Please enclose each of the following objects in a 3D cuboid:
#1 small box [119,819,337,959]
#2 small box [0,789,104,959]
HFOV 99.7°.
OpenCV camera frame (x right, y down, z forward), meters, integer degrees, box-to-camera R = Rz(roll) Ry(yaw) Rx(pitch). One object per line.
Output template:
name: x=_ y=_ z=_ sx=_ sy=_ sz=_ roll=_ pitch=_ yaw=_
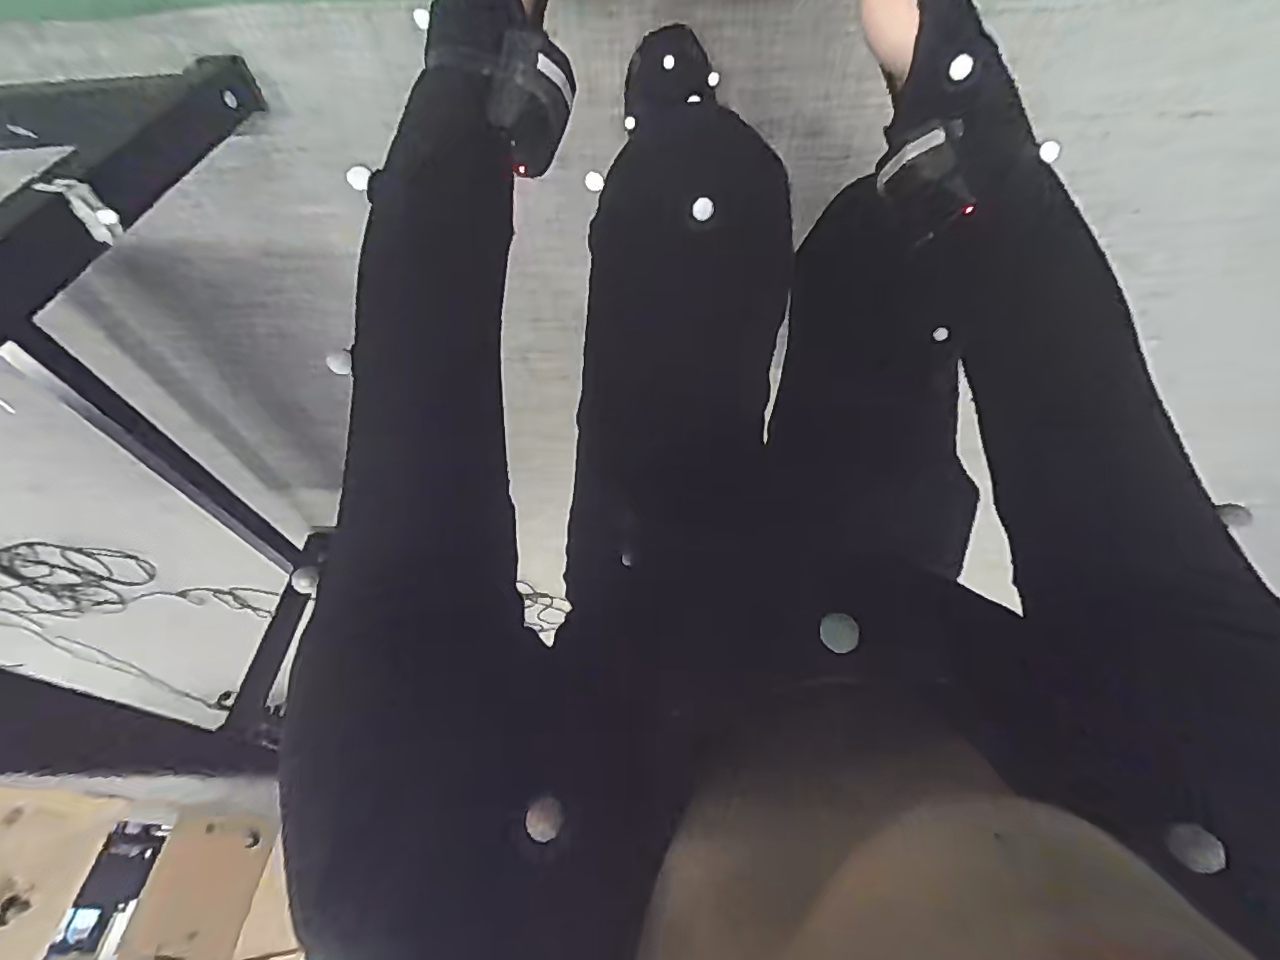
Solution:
small box: x=-0.601 y=0.618 z=0.818 sx=0.168 sy=0.176 sz=0.179 roll=1 pitch=145 yaw=4
small box: x=-0.624 y=0.358 z=0.457 sx=0.179 sy=0.176 sz=0.168 roll=1 pitch=145 yaw=5
